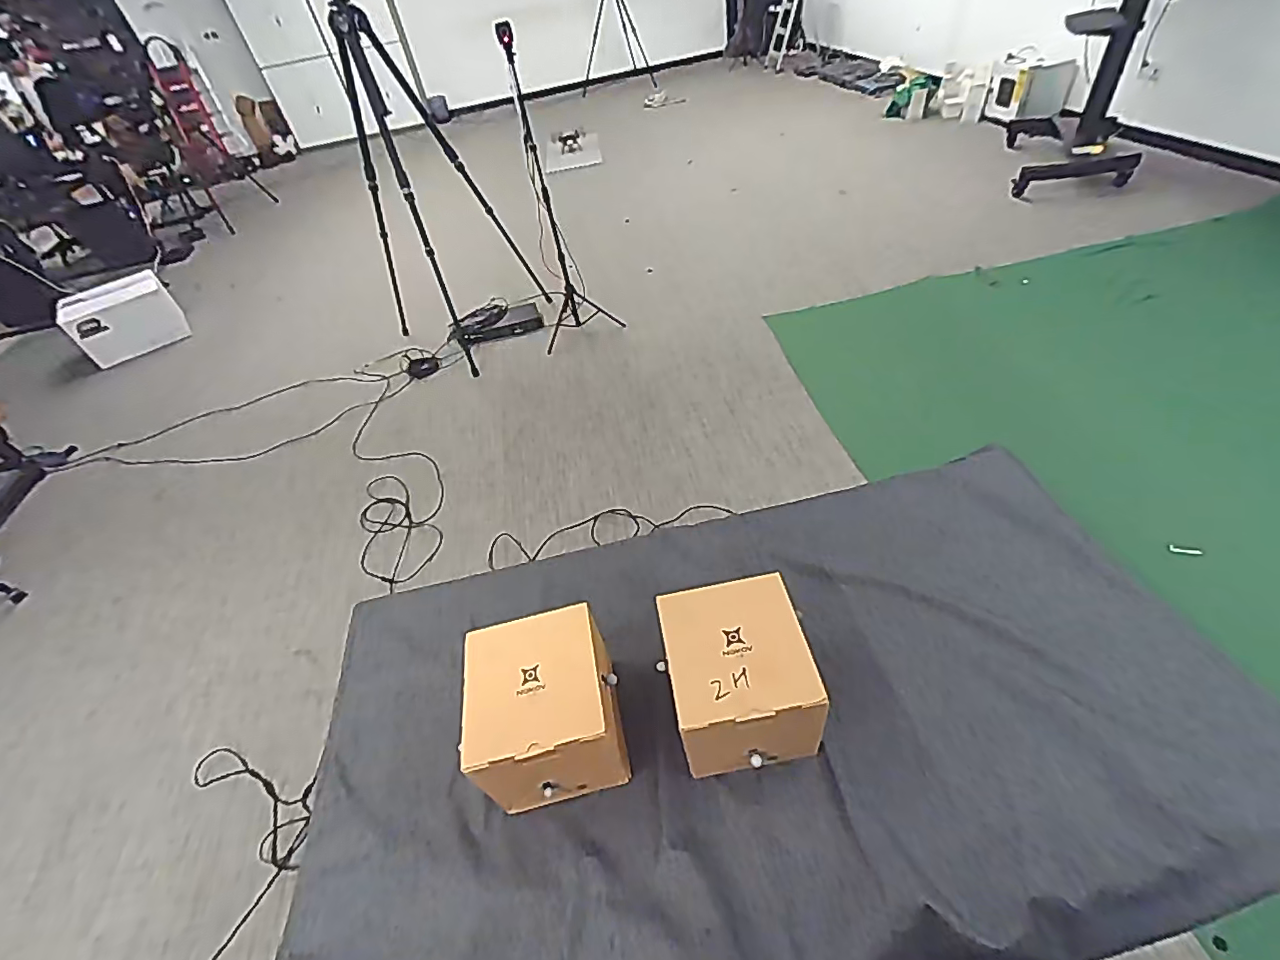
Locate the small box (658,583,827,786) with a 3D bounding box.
[{"bbox_3d":[0.122,0.263,0.695,0.168,0.176,0.179,-11,44,1],"label":"small box"}]

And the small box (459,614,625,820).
[{"bbox_3d":[-0.122,0.307,0.704,0.168,0.176,0.179,-14,44,-2],"label":"small box"}]
